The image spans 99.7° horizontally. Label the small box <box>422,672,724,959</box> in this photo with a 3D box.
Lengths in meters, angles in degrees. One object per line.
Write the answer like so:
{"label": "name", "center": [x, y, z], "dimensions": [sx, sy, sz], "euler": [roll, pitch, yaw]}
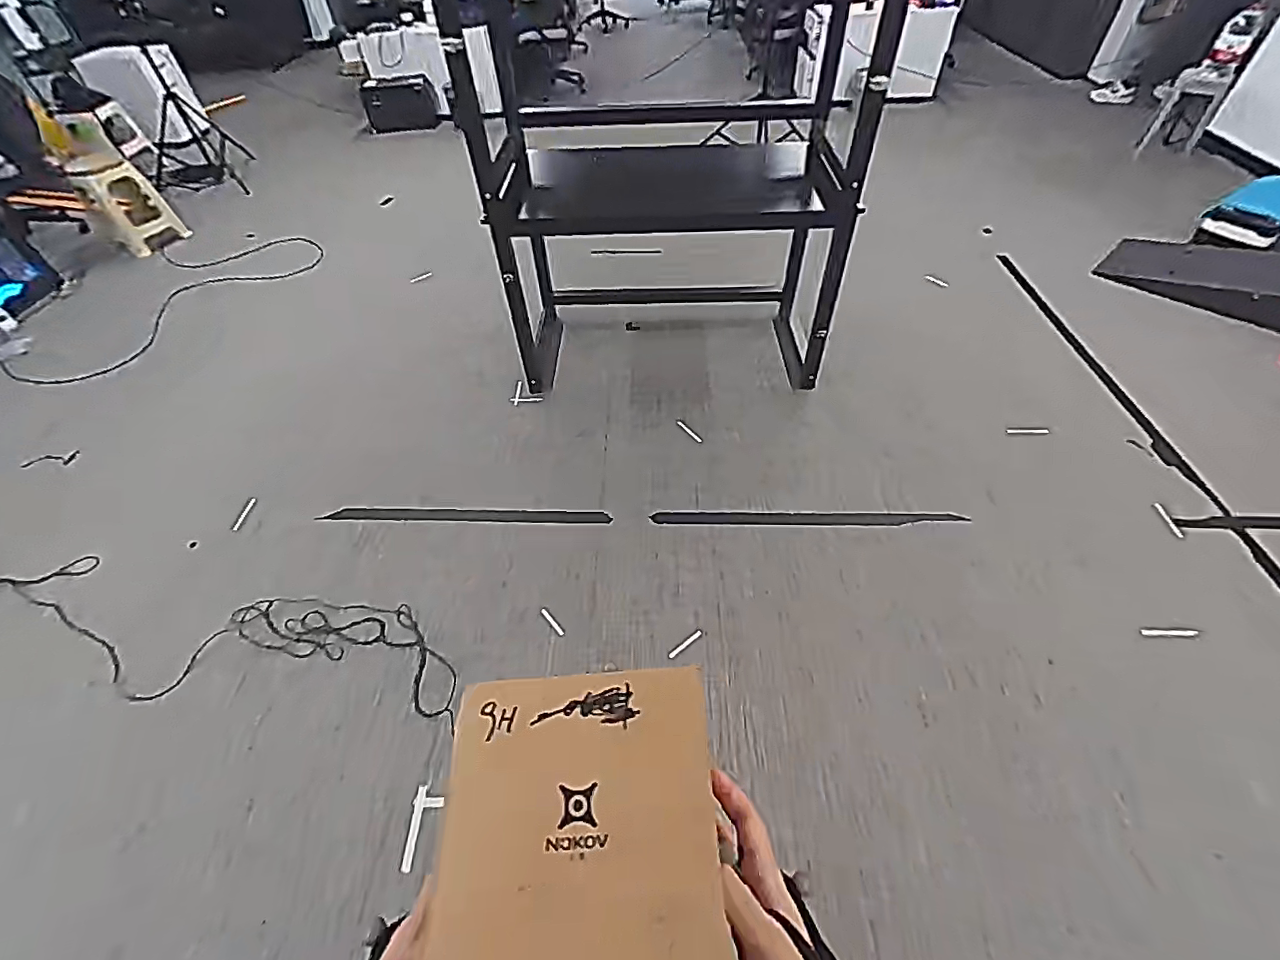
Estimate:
{"label": "small box", "center": [-0.031, 0.254, 0.386], "dimensions": [0.168, 0.176, 0.179], "euler": [-5, 53, 2]}
